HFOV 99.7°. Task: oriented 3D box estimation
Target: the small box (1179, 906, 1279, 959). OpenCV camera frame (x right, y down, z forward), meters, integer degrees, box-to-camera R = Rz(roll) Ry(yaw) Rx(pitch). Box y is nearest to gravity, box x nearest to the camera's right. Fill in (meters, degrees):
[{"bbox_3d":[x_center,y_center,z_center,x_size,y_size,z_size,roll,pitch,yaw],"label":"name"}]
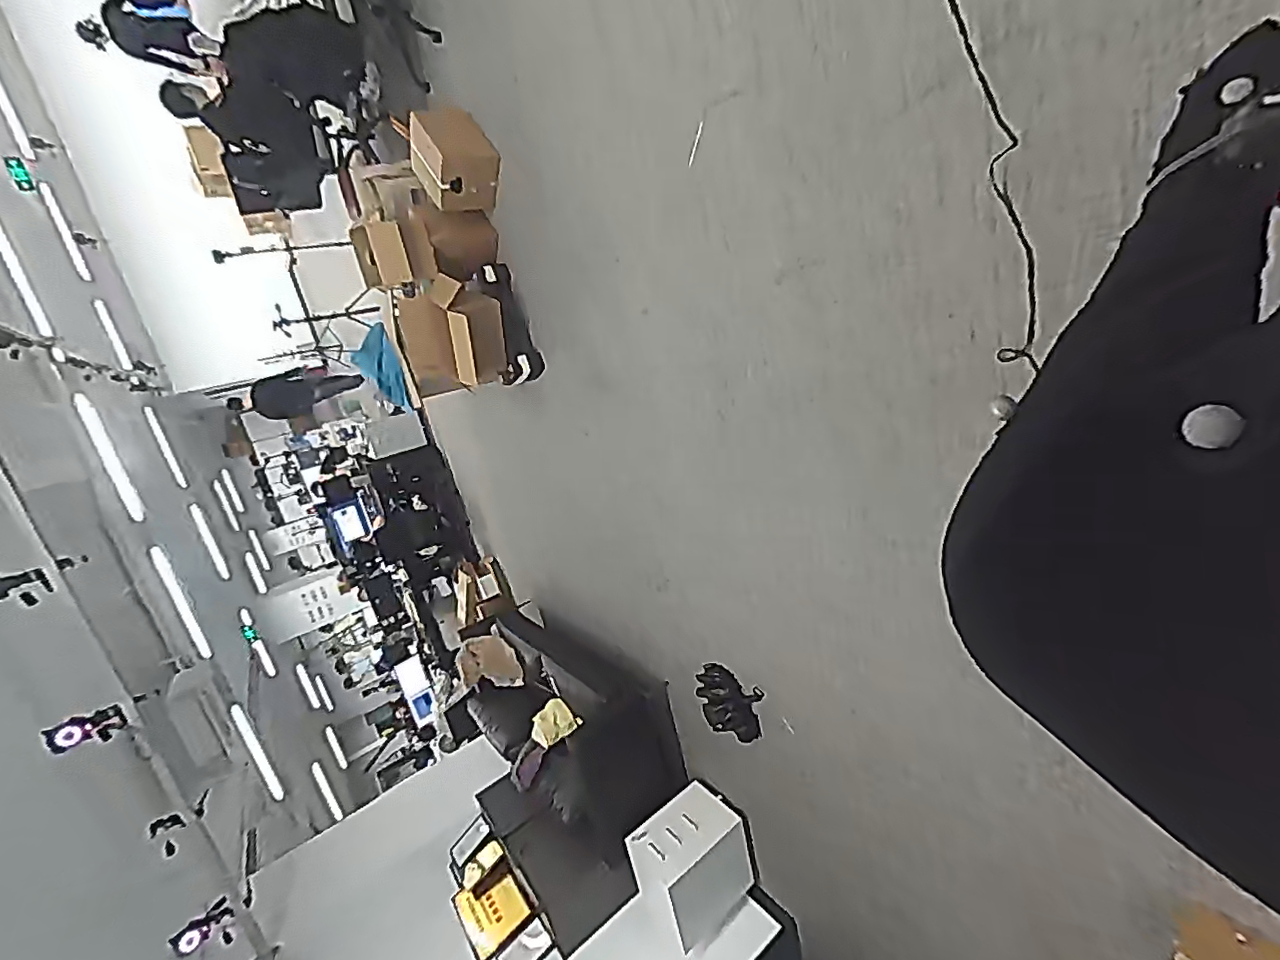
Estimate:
[{"bbox_3d":[1.412,1.164,1.276,0.179,0.176,0.168,15,122,53],"label":"small box"}]
